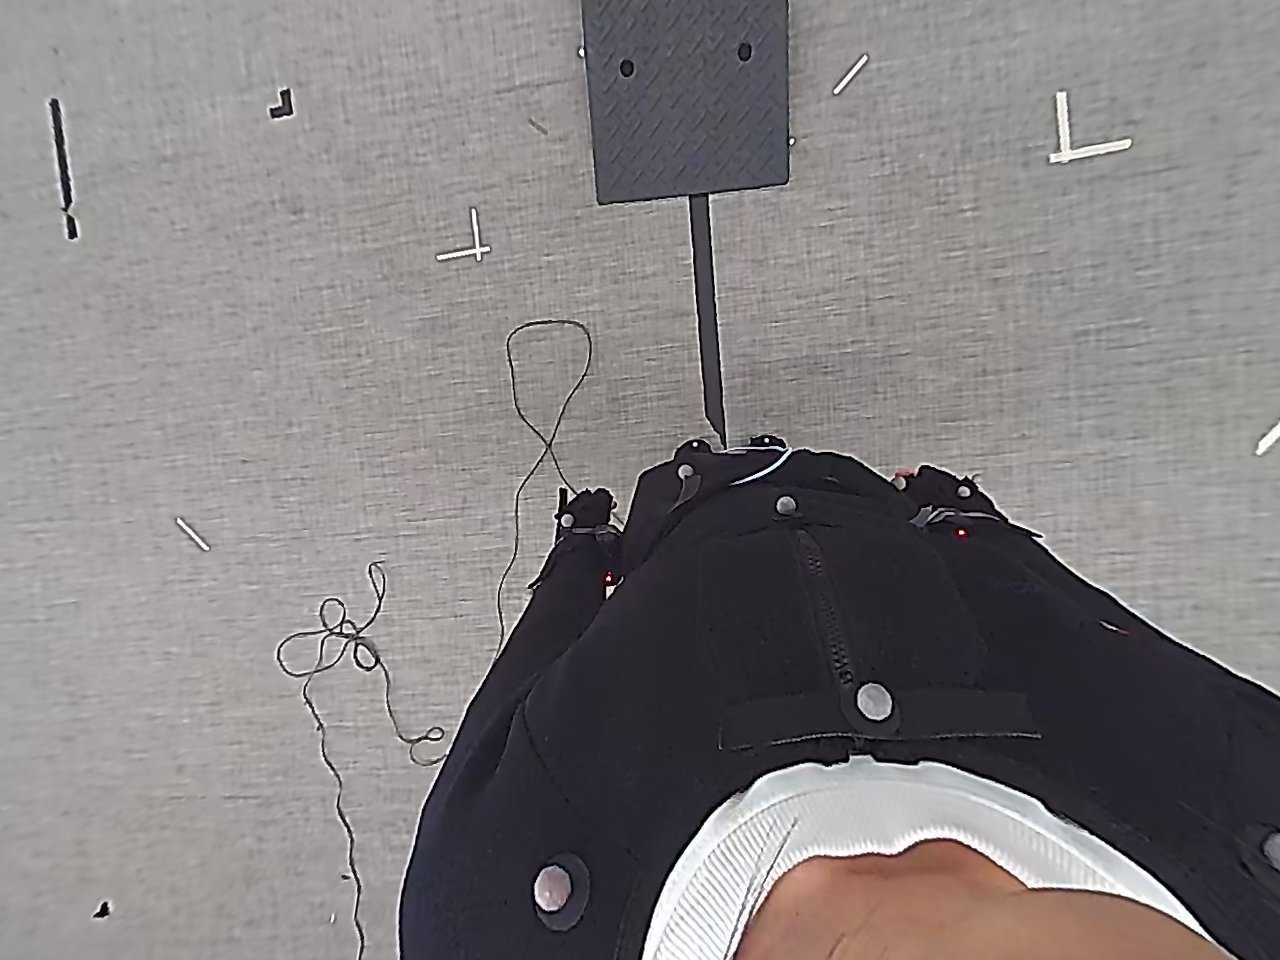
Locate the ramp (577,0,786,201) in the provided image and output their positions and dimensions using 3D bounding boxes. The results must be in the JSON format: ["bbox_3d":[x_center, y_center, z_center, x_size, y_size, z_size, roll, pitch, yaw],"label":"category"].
[{"bbox_3d":[0.087,-1.220,1.257,0.509,0.206,0.991,-4,95,6],"label":"ramp"}]
